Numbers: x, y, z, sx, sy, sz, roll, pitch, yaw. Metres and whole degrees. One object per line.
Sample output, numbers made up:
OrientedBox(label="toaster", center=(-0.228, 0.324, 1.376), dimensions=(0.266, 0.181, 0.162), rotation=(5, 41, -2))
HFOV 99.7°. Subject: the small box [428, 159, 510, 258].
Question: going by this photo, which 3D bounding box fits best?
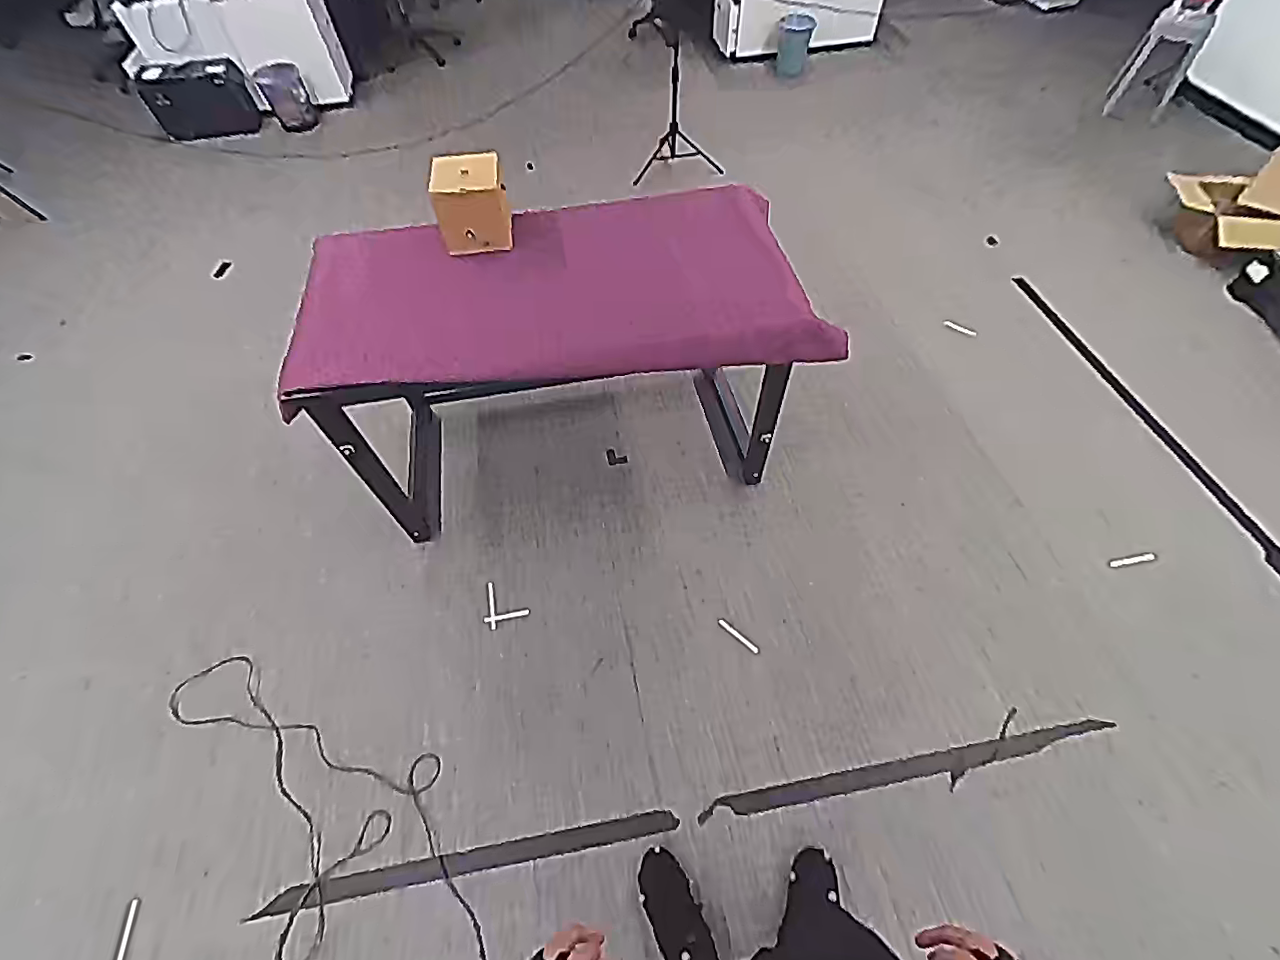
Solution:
OrientedBox(label="small box", center=(-0.440, -0.711, 1.418), dimensions=(0.168, 0.176, 0.179), rotation=(-8, 57, -4))
